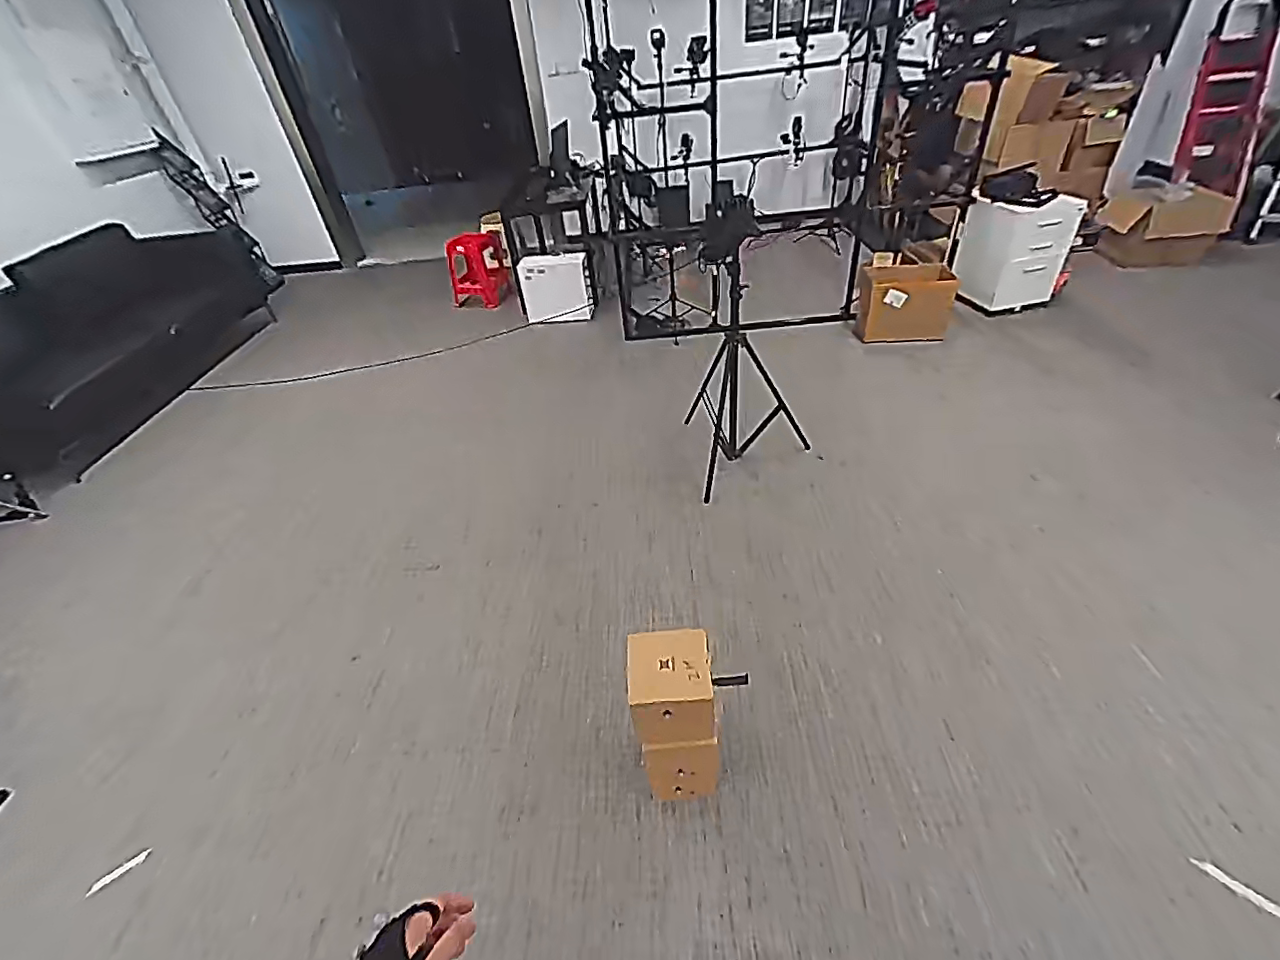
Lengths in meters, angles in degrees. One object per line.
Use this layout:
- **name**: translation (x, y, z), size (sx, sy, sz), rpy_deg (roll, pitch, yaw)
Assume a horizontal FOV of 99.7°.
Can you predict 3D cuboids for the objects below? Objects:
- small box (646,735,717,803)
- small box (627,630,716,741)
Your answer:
- **small box**: translation (0.100, 0.696, 1.389), size (0.168, 0.176, 0.179), rpy_deg (-8, 39, -1)
- **small box**: translation (0.069, 0.448, 1.173), size (0.179, 0.176, 0.168), rpy_deg (-5, 40, 2)
